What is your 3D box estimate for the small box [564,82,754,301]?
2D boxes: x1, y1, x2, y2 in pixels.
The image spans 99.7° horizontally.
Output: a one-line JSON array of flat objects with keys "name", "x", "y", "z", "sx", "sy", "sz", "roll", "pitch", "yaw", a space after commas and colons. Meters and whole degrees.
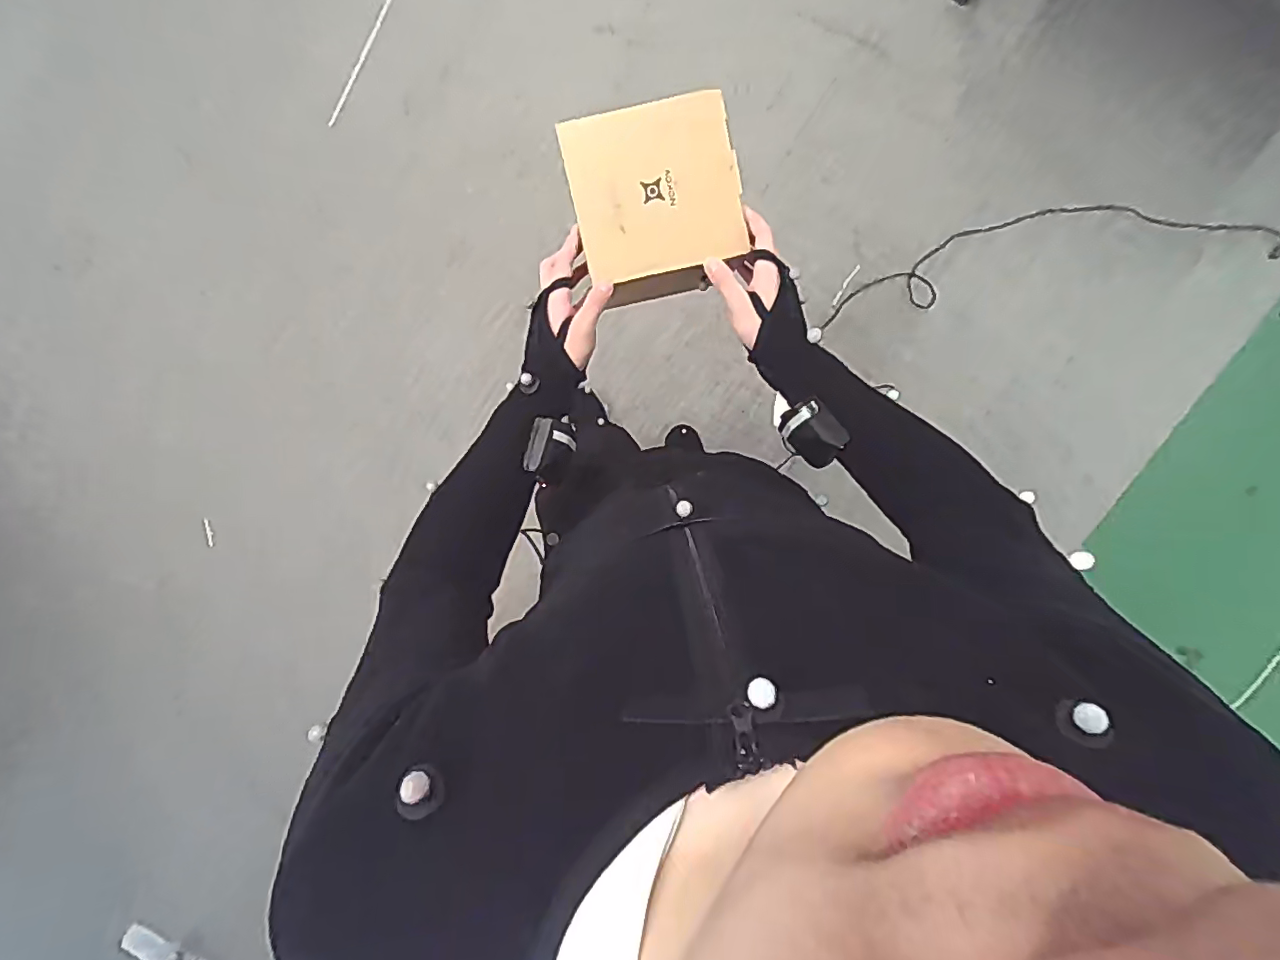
[{"name": "small box", "x": 0.018, "y": -0.319, "z": 0.634, "sx": 0.179, "sy": 0.176, "sz": 0.168, "roll": -11, "pitch": 99, "yaw": 0}]
